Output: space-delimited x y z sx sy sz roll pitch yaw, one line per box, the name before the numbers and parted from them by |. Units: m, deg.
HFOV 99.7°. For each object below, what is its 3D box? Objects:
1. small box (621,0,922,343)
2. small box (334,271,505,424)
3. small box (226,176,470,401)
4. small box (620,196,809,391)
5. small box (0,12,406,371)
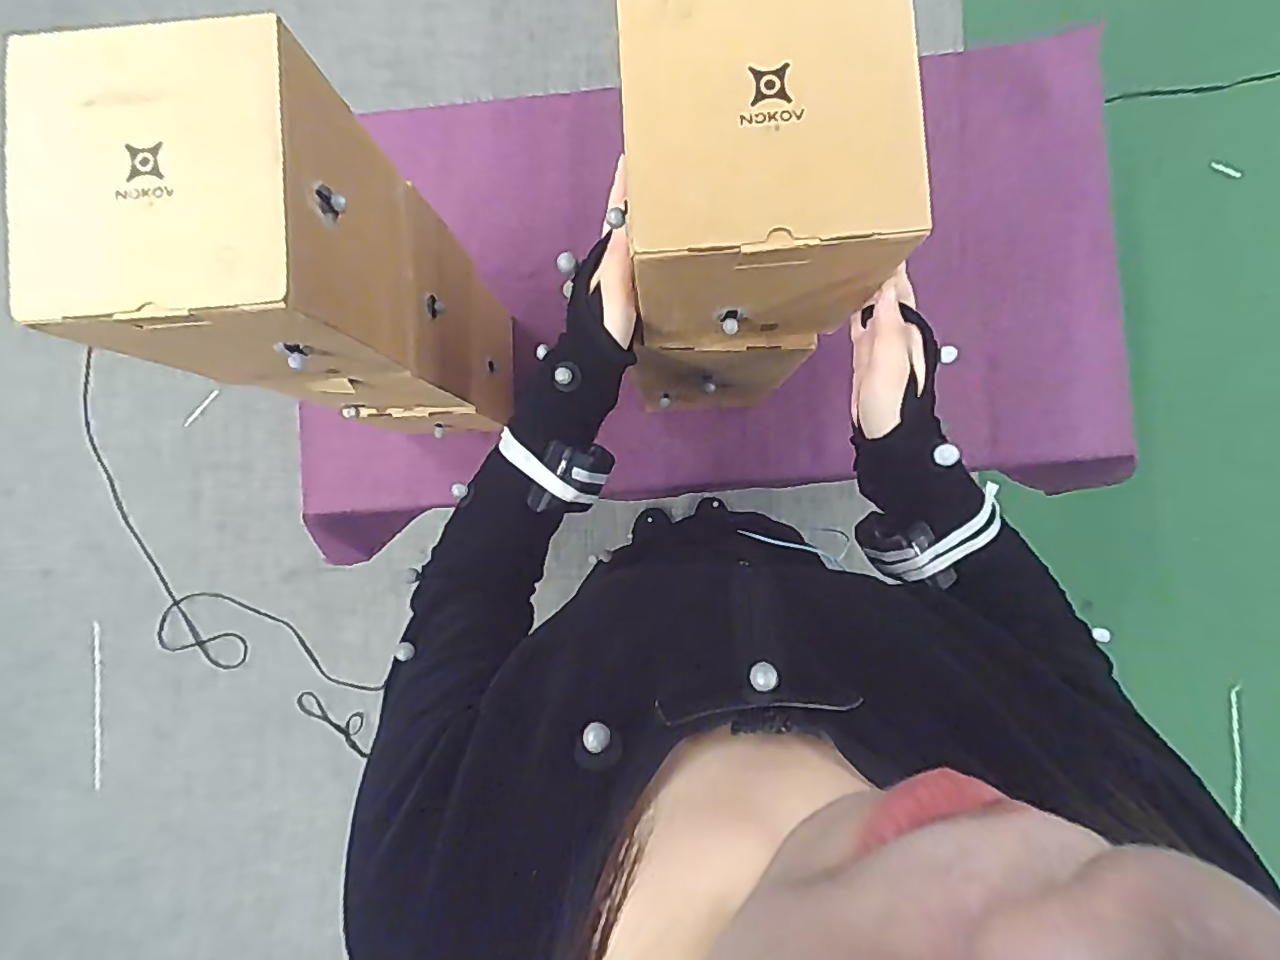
small box | 0.073 -0.210 0.384 0.168 0.176 0.179 -3 89 1
small box | -0.281 -0.167 0.720 0.168 0.176 0.179 -1 89 0
small box | -0.282 -0.179 0.555 0.168 0.176 0.179 0 87 1
small box | 0.067 -0.195 0.547 0.168 0.176 0.179 1 89 2
small box | -0.285 -0.180 0.393 0.168 0.176 0.179 -2 88 0
